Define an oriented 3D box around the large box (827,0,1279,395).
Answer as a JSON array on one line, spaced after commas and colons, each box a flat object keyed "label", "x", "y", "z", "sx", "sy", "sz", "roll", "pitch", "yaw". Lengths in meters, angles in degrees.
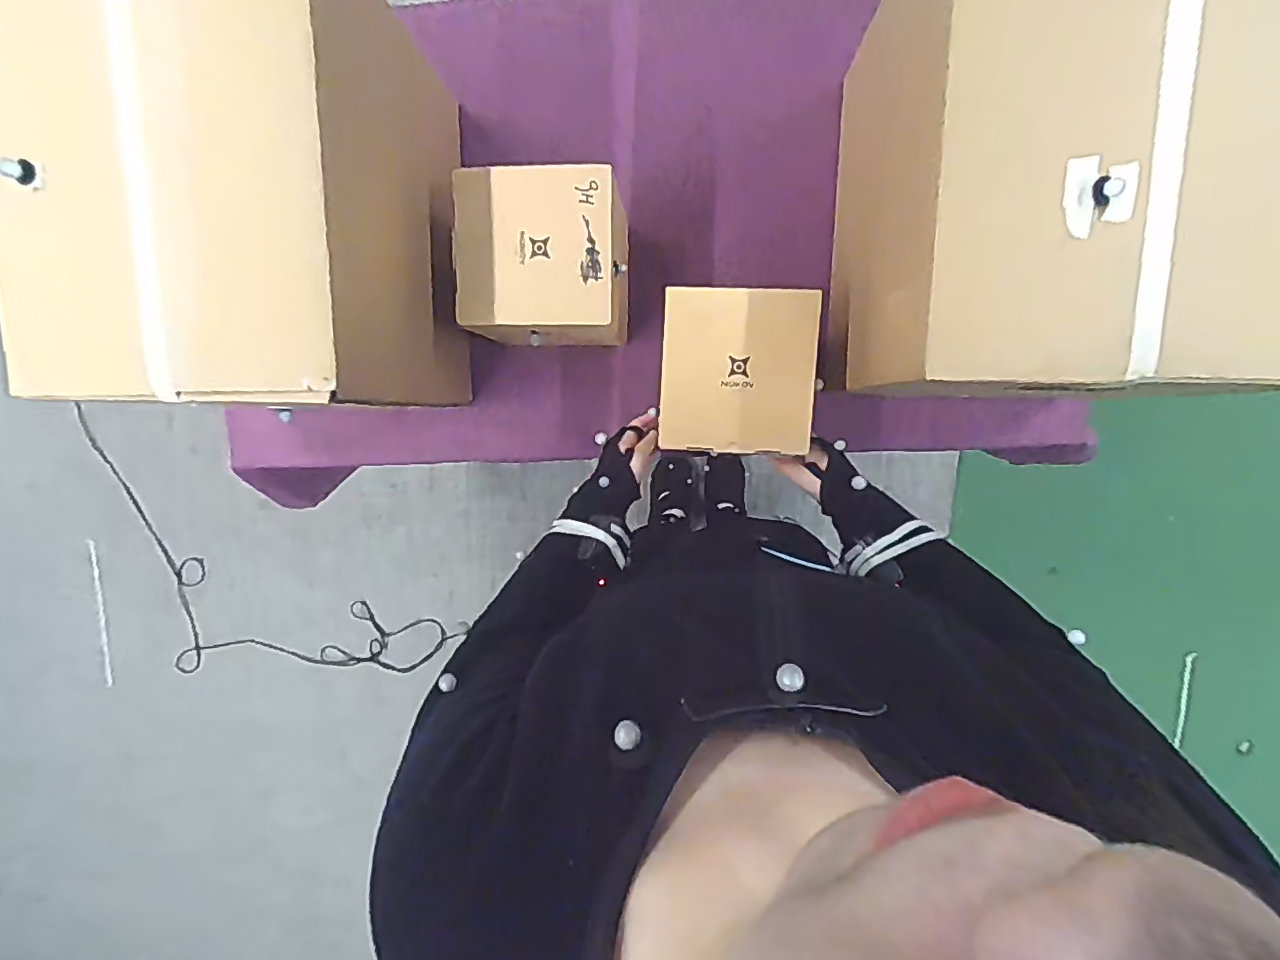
[{"label": "large box", "x": 0.398, "y": -0.298, "z": 0.557, "sx": 0.320, "sy": 0.320, "sz": 0.408, "roll": 2, "pitch": 98, "yaw": 4}]
